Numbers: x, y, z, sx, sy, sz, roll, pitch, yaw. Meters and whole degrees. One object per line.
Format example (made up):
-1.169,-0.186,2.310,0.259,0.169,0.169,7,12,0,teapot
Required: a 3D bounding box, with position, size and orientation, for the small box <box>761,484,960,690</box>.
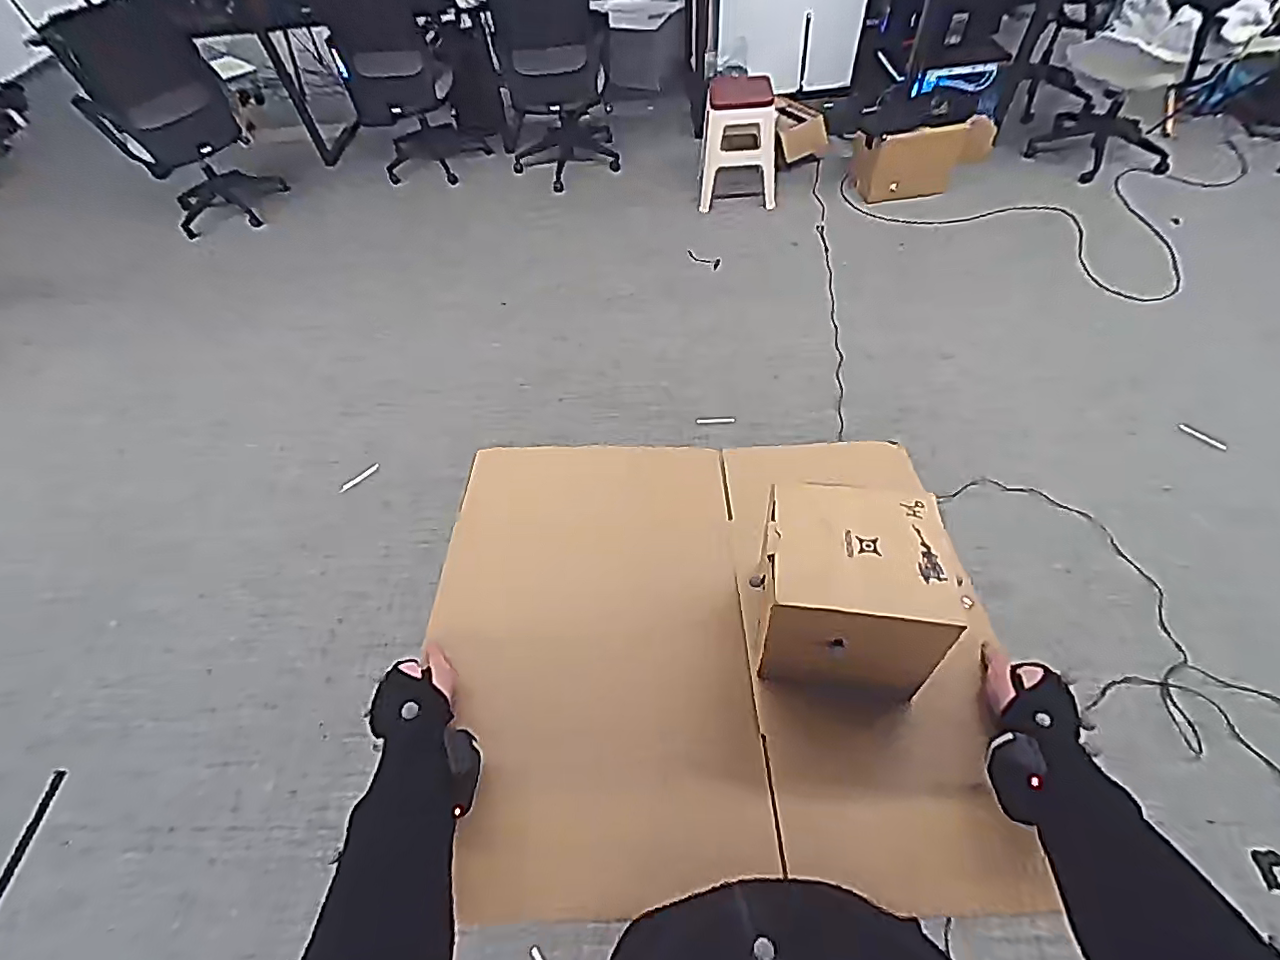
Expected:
0.234,0.124,0.624,0.179,0.176,0.168,4,48,10,small box
